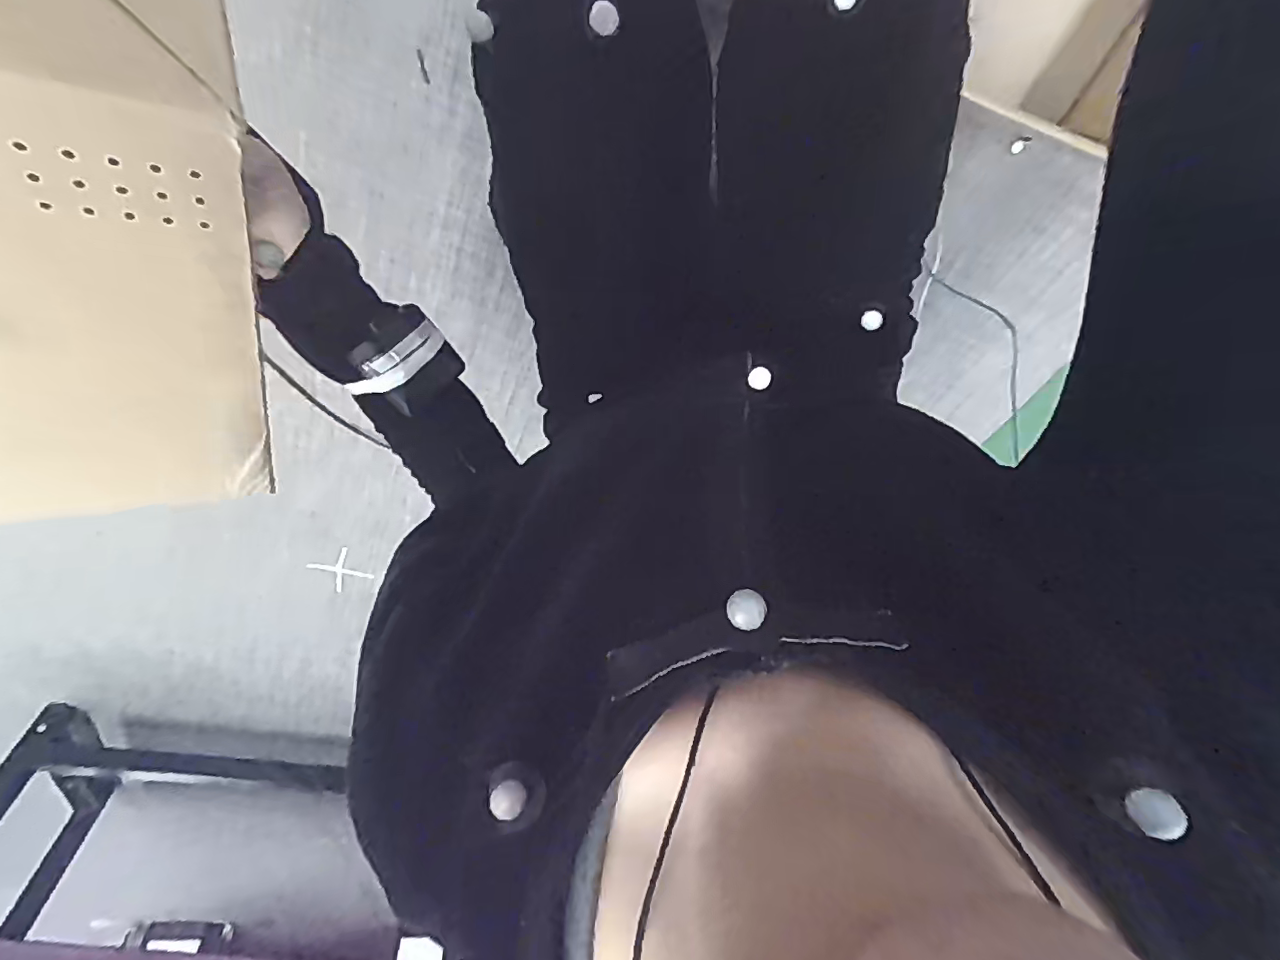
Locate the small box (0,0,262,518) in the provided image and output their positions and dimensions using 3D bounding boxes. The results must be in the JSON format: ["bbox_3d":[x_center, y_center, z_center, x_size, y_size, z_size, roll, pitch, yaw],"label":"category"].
[{"bbox_3d":[-0.212,-0.101,0.144,0.168,0.179,0.176,-8,154,-35],"label":"small box"}]
